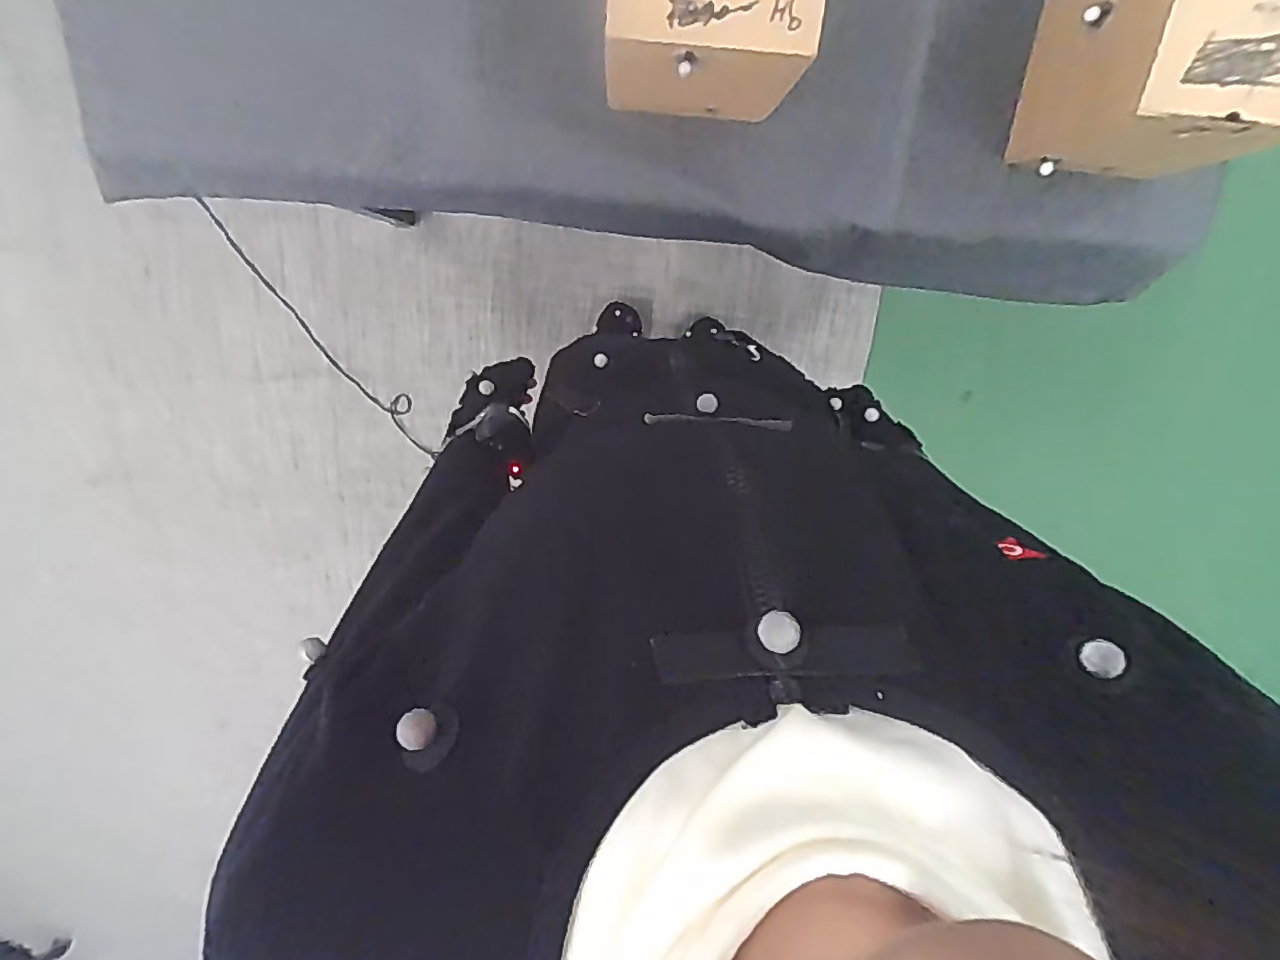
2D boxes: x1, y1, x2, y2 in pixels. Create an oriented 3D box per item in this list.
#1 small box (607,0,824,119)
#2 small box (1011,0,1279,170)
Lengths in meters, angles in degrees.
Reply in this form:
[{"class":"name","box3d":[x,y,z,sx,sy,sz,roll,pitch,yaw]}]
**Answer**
[{"class":"small box","box3d":[0.059,-0.443,0.462,0.168,0.176,0.179,3,108,-3]},{"class":"small box","box3d":[0.483,-0.400,0.490,0.168,0.176,0.179,5,107,-3]}]
